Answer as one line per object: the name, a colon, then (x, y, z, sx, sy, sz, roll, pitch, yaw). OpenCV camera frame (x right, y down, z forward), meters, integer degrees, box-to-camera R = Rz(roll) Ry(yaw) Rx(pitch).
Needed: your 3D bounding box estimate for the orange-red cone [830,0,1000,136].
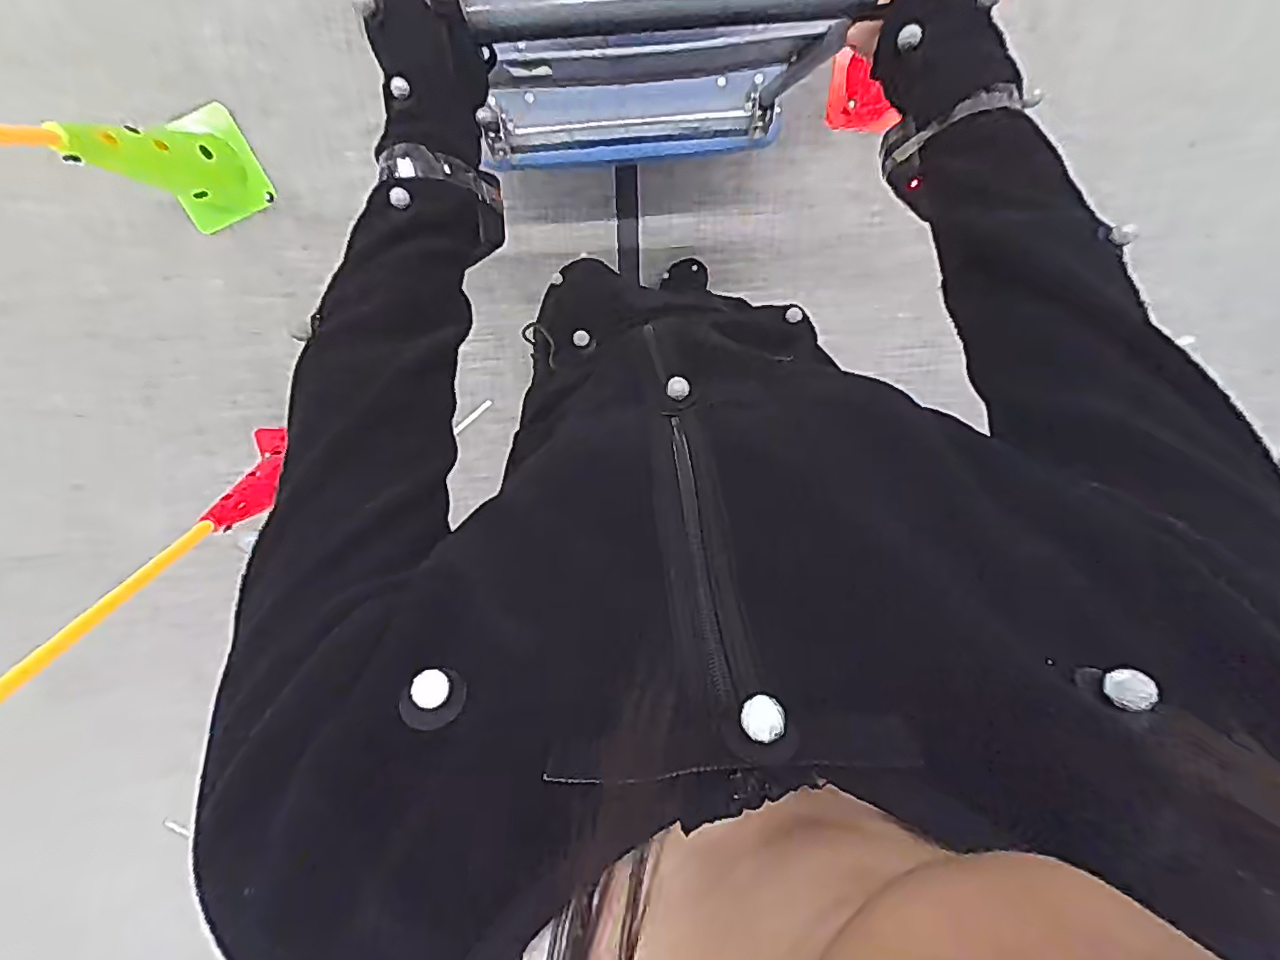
orange-red cone: (0.524, -0.785, 0.986, 0.199, 0.360, 0.198, 3, 112, -5)
